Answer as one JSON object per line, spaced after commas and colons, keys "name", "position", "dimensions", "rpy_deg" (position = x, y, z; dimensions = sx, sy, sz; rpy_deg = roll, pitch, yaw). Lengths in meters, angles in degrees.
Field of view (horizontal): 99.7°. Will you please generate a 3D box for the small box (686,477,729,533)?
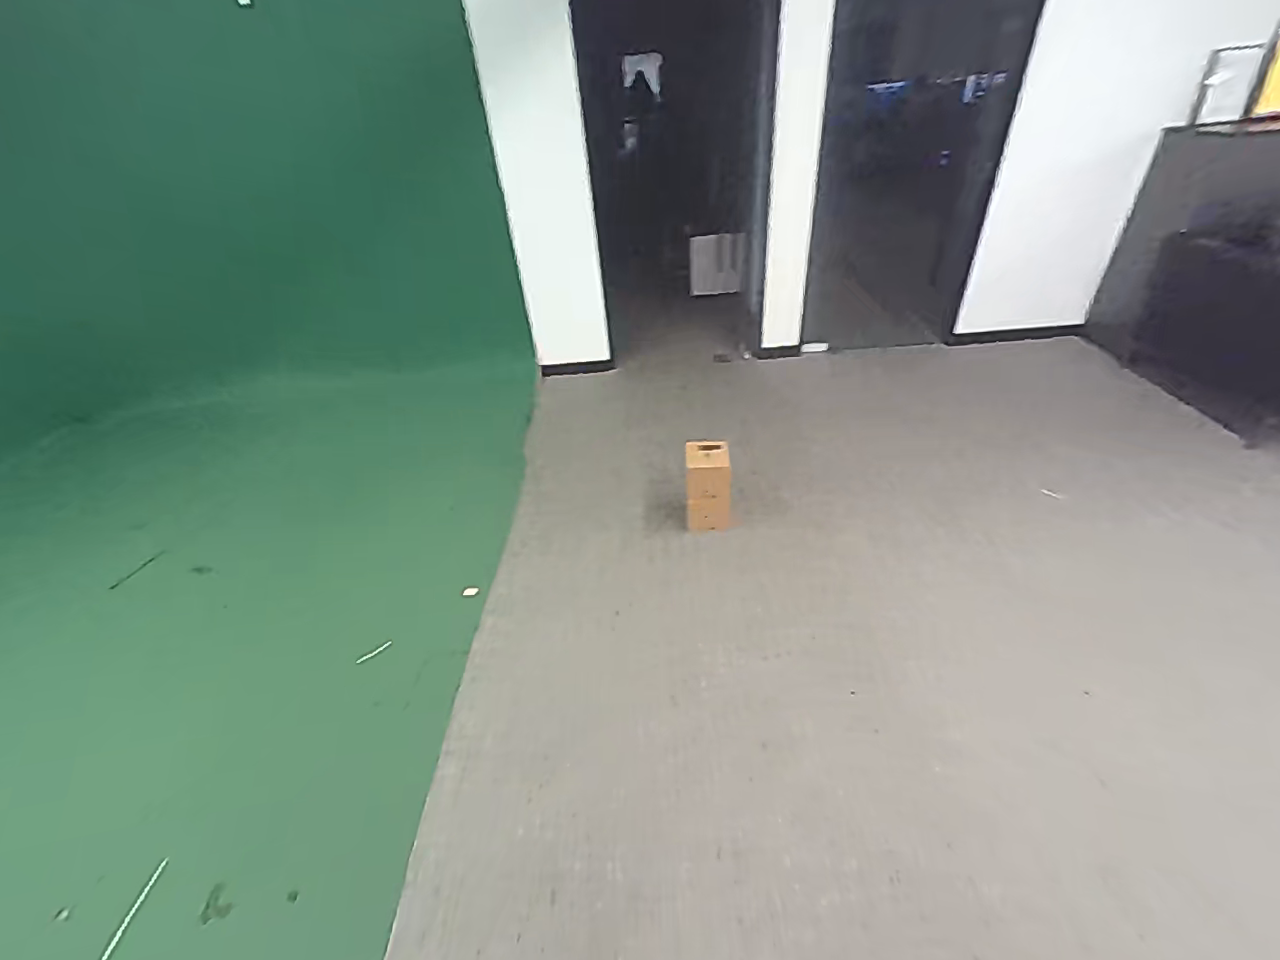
{"name": "small box", "position": [0.279, 0.109, 2.241], "dimensions": [0.168, 0.176, 0.179], "rpy_deg": [-3, 37, 3]}
